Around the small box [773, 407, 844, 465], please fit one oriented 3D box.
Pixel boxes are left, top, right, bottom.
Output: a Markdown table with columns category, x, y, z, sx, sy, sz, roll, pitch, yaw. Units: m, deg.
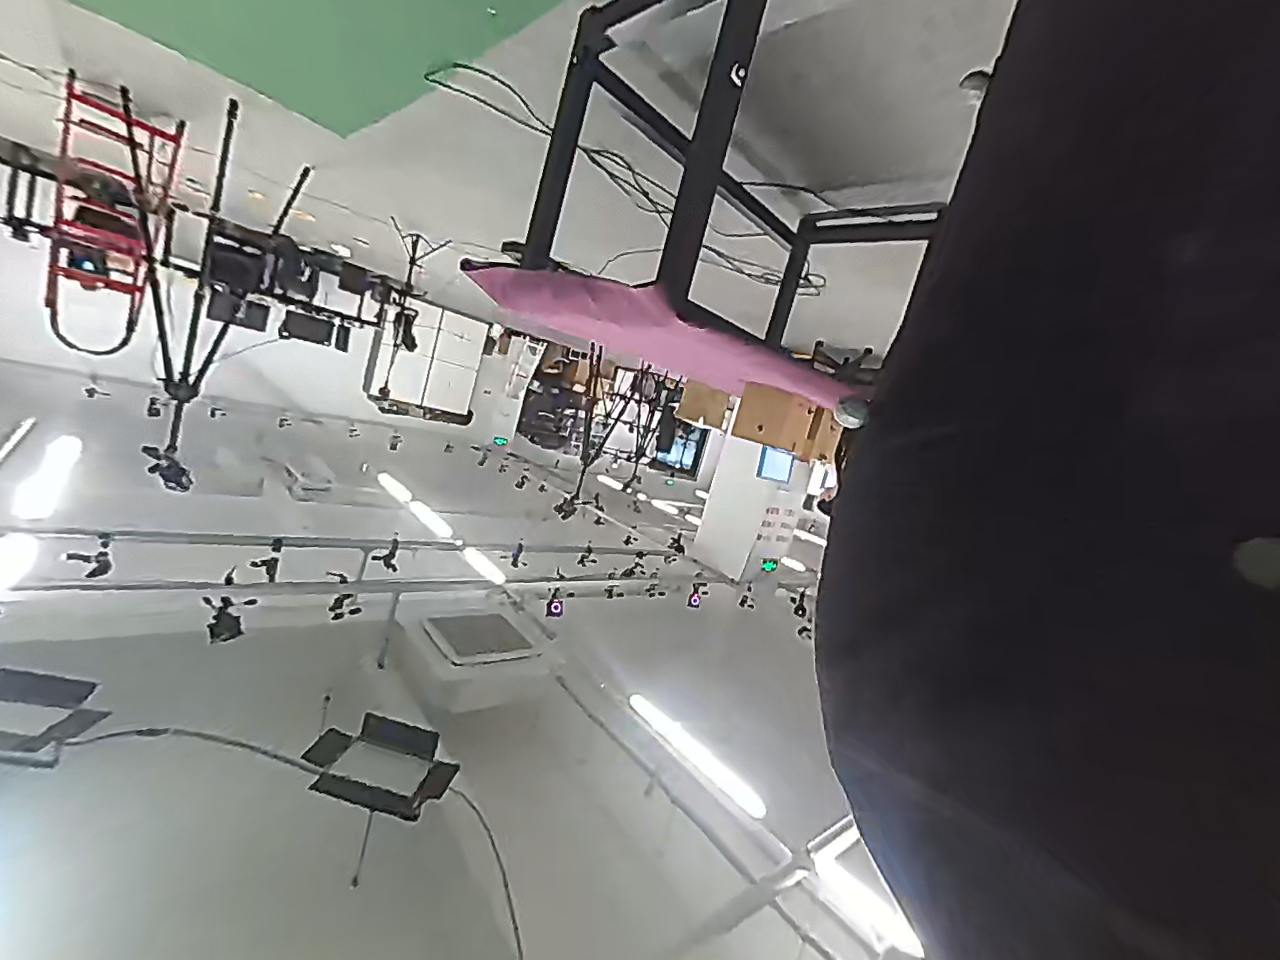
| category | x | y | z | sx | sy | sz | roll | pitch | yaw |
| --- | --- | --- | --- | --- | --- | --- | --- | --- | --- |
| small box | 0.572 | -0.165 | 1.870 | 0.168 | 0.176 | 0.179 | 9 | -170 | -46 |

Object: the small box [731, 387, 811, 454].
| category | x | y | z | sx | sy | sz | roll | pitch | yaw |
| --- | --- | --- | --- | --- | --- | --- | --- | --- | --- |
| small box | 0.422 | -0.191 | 1.711 | 0.179 | 0.176 | 0.168 | 23 | -171 | 42 |
